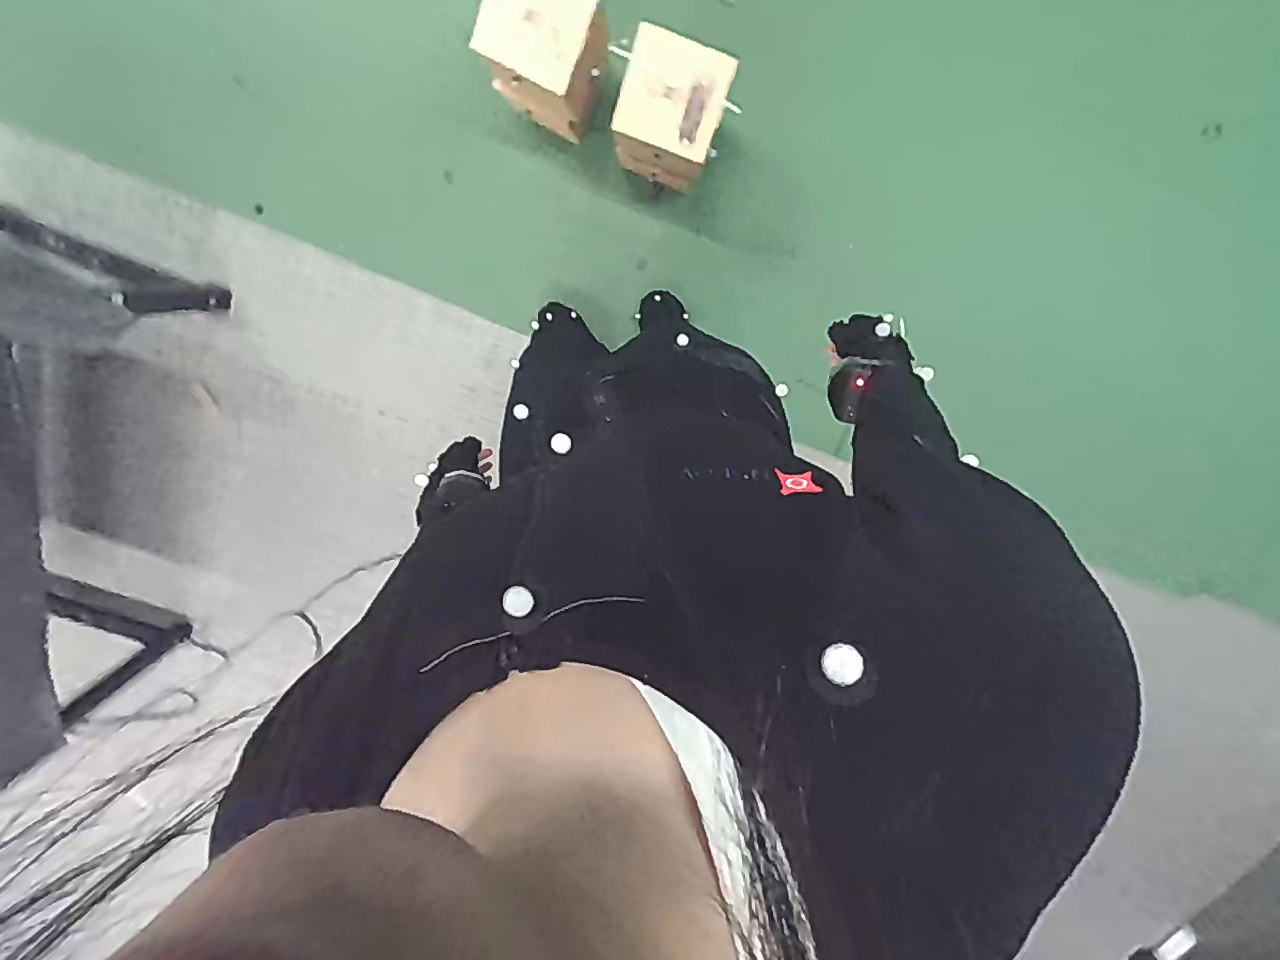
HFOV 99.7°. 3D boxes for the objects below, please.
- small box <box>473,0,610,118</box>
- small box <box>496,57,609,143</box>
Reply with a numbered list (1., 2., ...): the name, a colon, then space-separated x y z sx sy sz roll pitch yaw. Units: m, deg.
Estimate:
1. small box: -0.169 -0.795 0.977 0.179 0.176 0.168 26 109 -6
2. small box: -0.174 -0.847 1.134 0.168 0.176 0.179 27 108 -7
